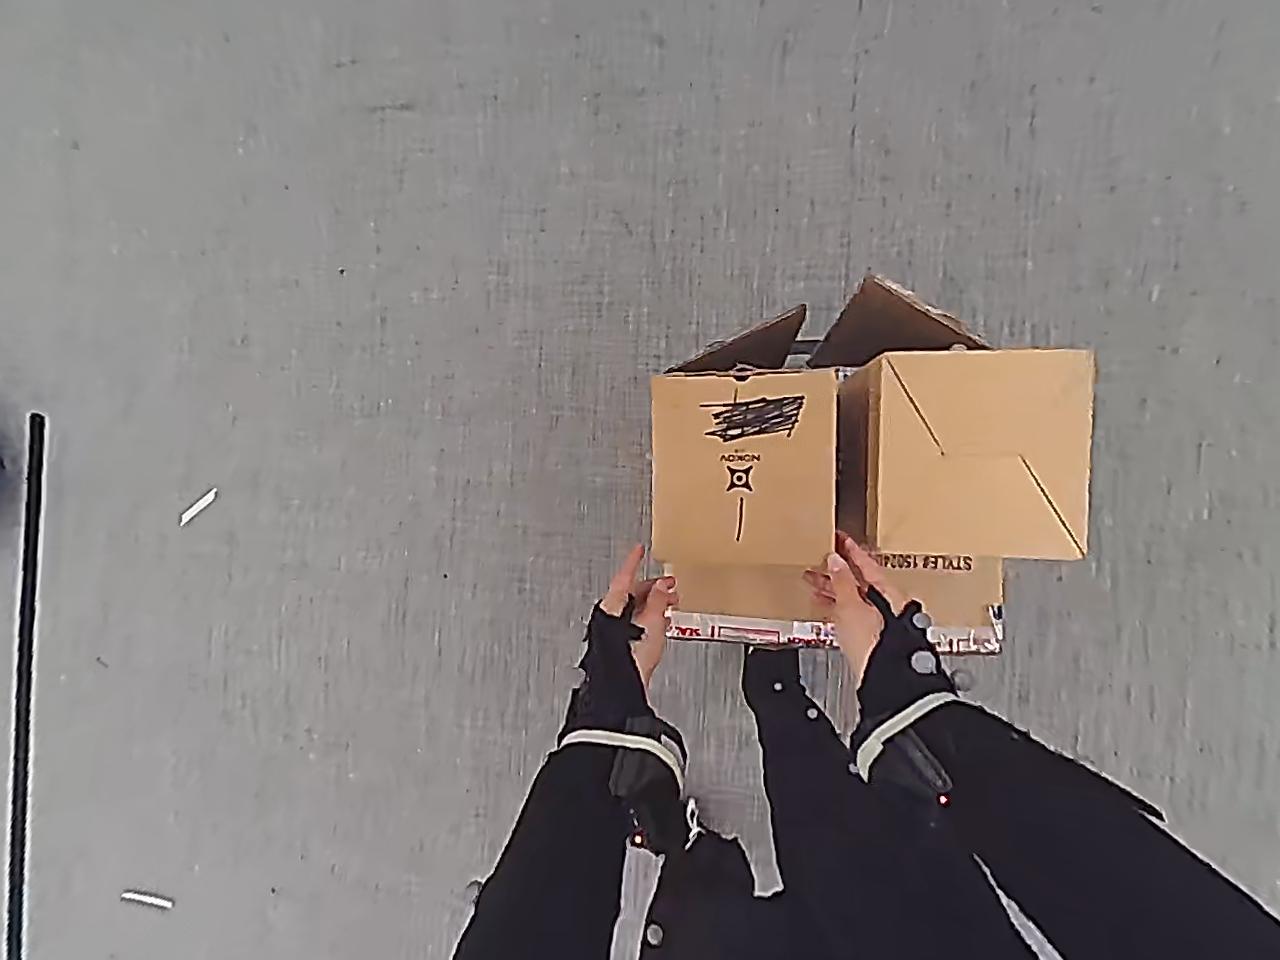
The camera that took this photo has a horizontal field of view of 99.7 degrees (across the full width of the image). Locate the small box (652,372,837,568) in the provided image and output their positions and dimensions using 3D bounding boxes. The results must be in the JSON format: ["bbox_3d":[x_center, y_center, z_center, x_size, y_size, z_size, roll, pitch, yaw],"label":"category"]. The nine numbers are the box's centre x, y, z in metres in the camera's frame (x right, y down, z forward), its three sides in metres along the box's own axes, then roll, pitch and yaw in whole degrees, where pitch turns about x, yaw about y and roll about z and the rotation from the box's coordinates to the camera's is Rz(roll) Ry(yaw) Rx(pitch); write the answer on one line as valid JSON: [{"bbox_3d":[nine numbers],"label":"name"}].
[{"bbox_3d":[0.107,-0.011,0.571,0.168,0.176,0.179,0,92,11],"label":"small box"}]

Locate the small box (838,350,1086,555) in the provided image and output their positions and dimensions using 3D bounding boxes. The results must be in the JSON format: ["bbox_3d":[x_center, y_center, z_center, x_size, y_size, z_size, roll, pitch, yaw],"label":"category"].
[{"bbox_3d":[0.298,-0.021,0.534,0.168,0.176,0.179,1,92,7],"label":"small box"}]
